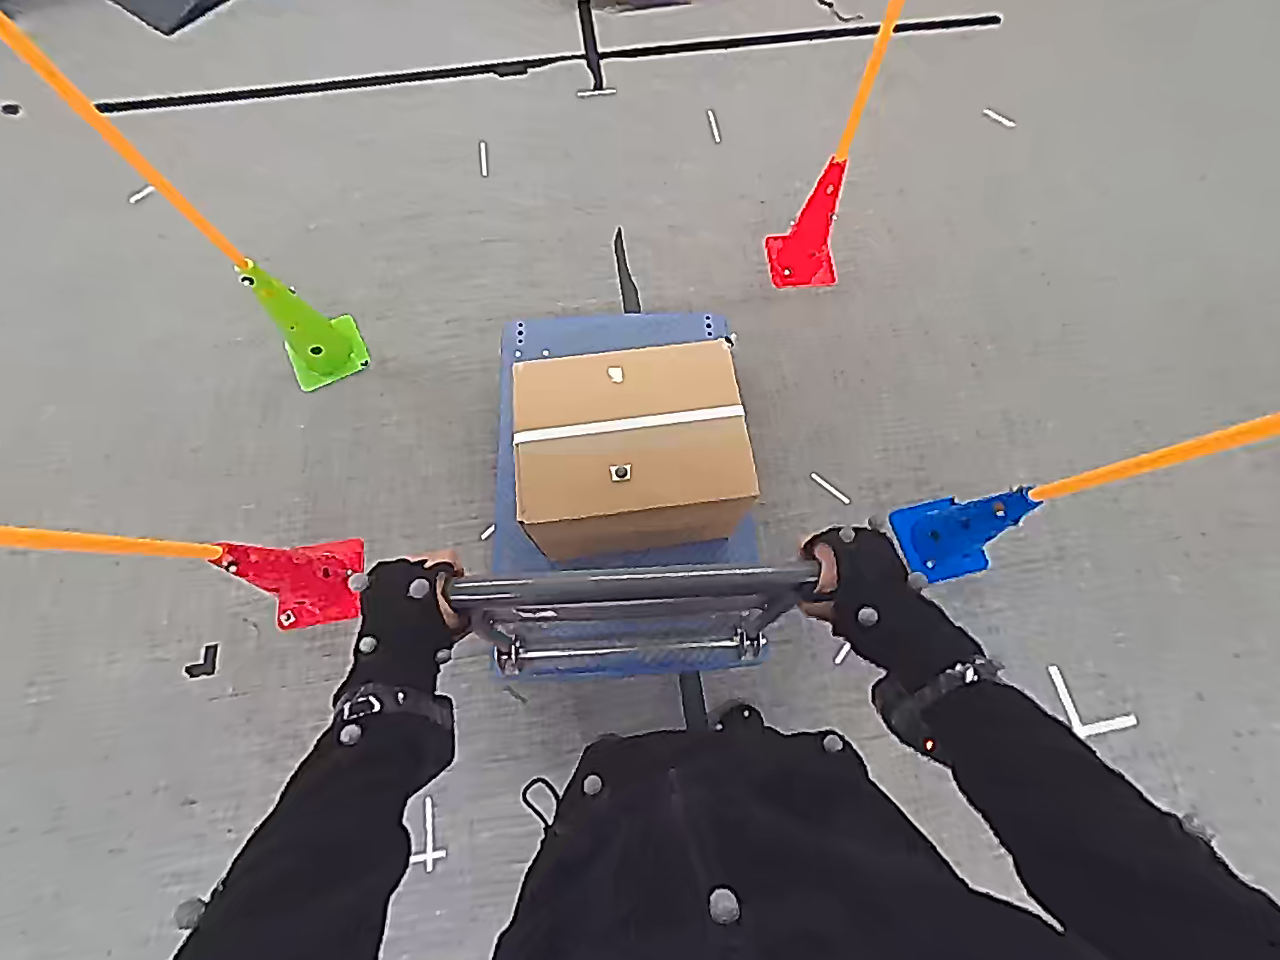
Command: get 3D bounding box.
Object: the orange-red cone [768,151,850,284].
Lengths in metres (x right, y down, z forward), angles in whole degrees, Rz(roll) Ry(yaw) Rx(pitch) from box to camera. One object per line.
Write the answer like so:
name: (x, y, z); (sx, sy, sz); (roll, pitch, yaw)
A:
orange-red cone: (0.503, -0.744, 1.505); (0.199, 0.360, 0.198); (-1, 71, -2)

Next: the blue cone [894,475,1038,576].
blue cone: (0.762, 0.082, 1.222); (0.193, 0.380, 0.192); (-12, 69, -5)
